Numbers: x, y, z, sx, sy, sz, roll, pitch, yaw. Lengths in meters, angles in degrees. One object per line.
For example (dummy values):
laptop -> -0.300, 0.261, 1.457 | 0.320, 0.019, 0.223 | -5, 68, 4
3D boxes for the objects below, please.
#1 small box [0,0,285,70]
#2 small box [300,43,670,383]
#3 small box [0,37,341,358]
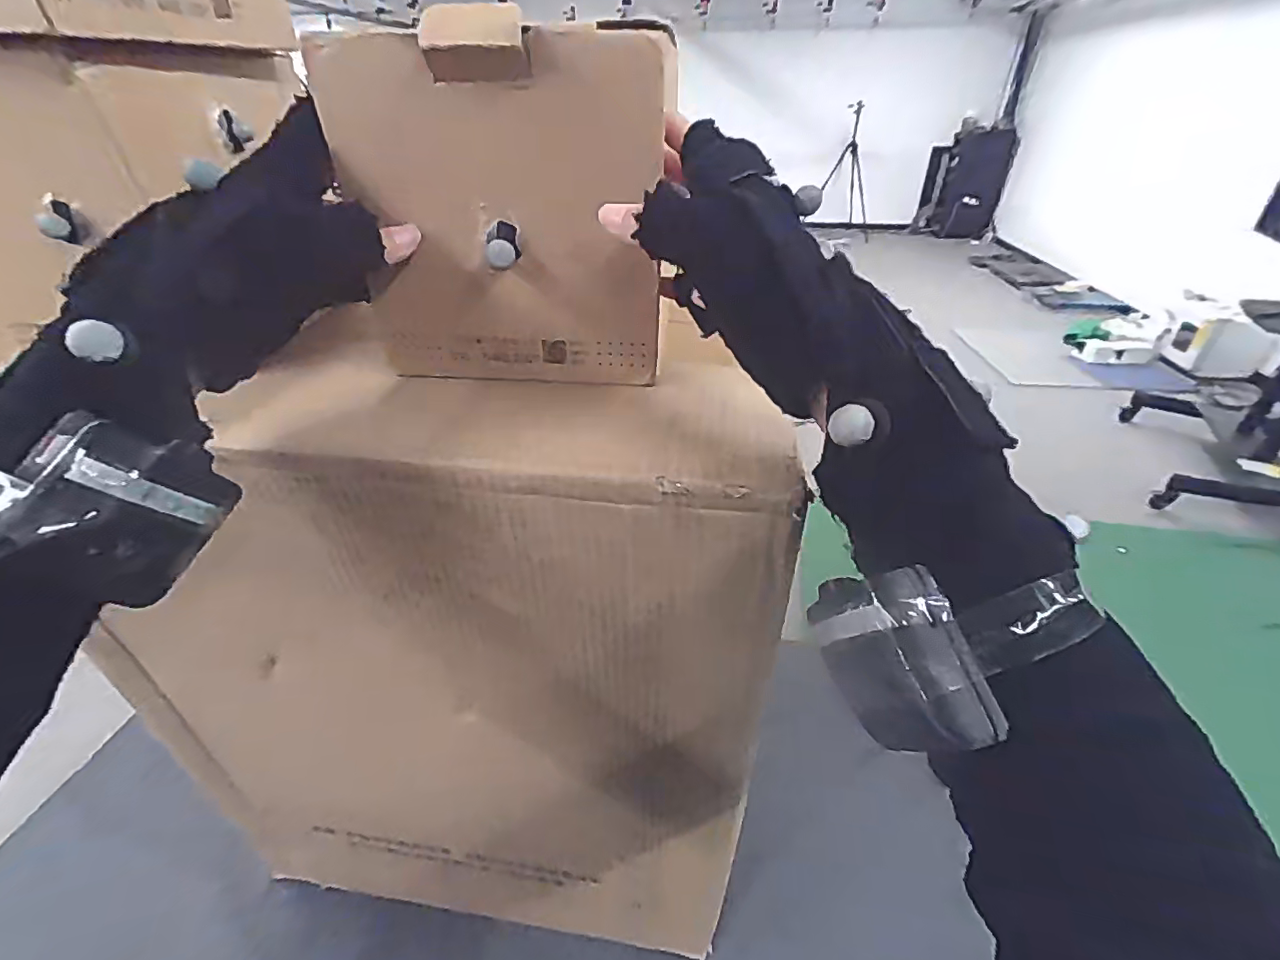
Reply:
small box -> -0.324, -0.301, 0.262 | 0.179, 0.176, 0.168 | 3, 37, 7
small box -> -0.068, -0.176, 0.355 | 0.168, 0.176, 0.179 | 3, 38, 4
small box -> -0.334, -0.190, 0.359 | 0.168, 0.176, 0.179 | -1, 38, 0
